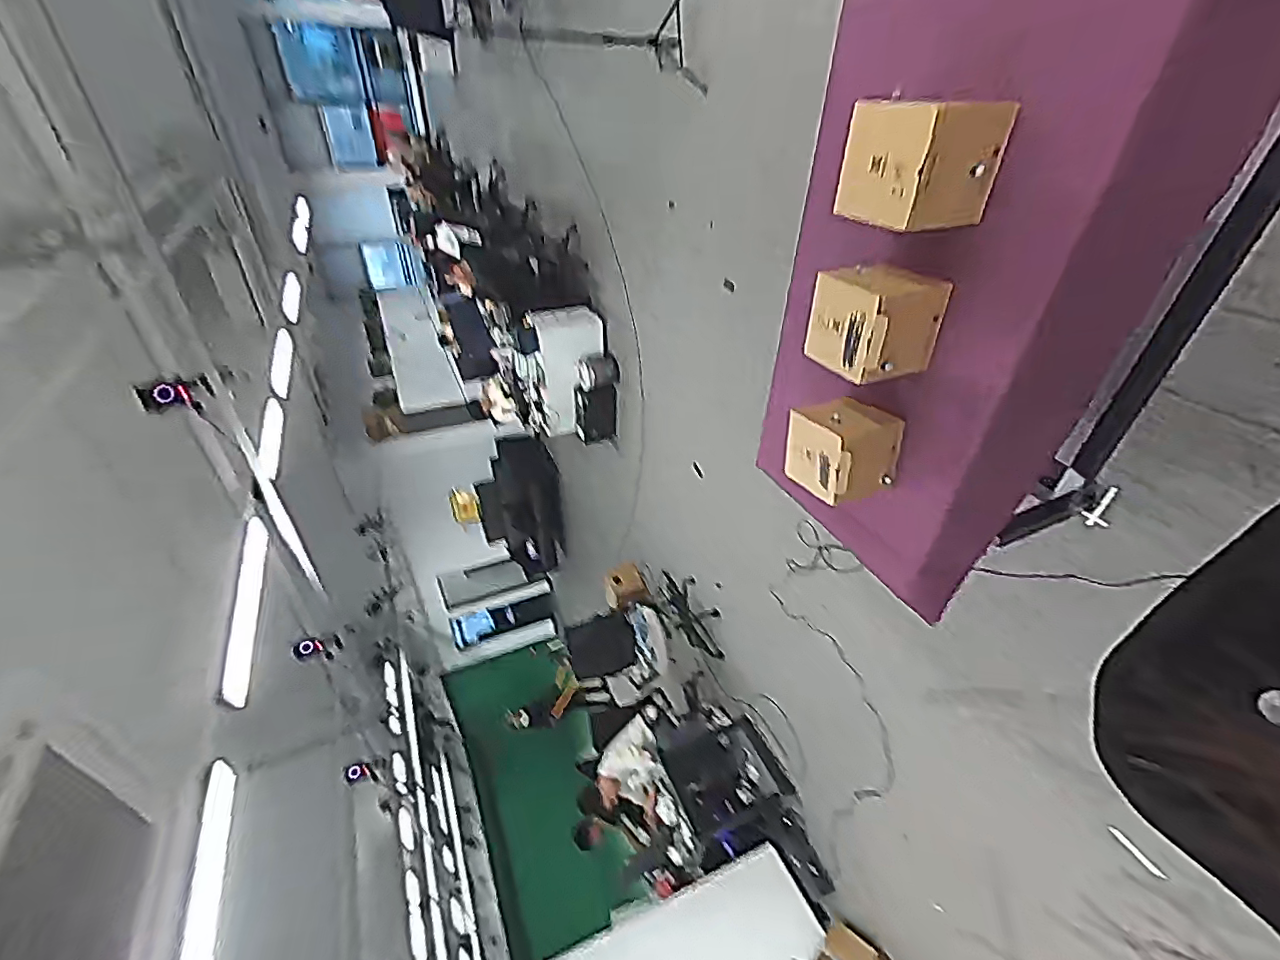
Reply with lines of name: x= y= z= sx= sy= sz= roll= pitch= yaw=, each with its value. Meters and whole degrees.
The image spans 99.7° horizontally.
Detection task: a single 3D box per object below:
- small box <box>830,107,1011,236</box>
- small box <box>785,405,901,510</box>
small box: x=0.454 y=-0.514 z=0.895 sx=0.179 sy=0.176 sz=0.168 roll=-128 pitch=30 yaw=-47
small box: x=0.453 y=-0.058 z=1.217 sx=0.179 sy=0.176 sz=0.168 roll=-134 pitch=35 yaw=-54
